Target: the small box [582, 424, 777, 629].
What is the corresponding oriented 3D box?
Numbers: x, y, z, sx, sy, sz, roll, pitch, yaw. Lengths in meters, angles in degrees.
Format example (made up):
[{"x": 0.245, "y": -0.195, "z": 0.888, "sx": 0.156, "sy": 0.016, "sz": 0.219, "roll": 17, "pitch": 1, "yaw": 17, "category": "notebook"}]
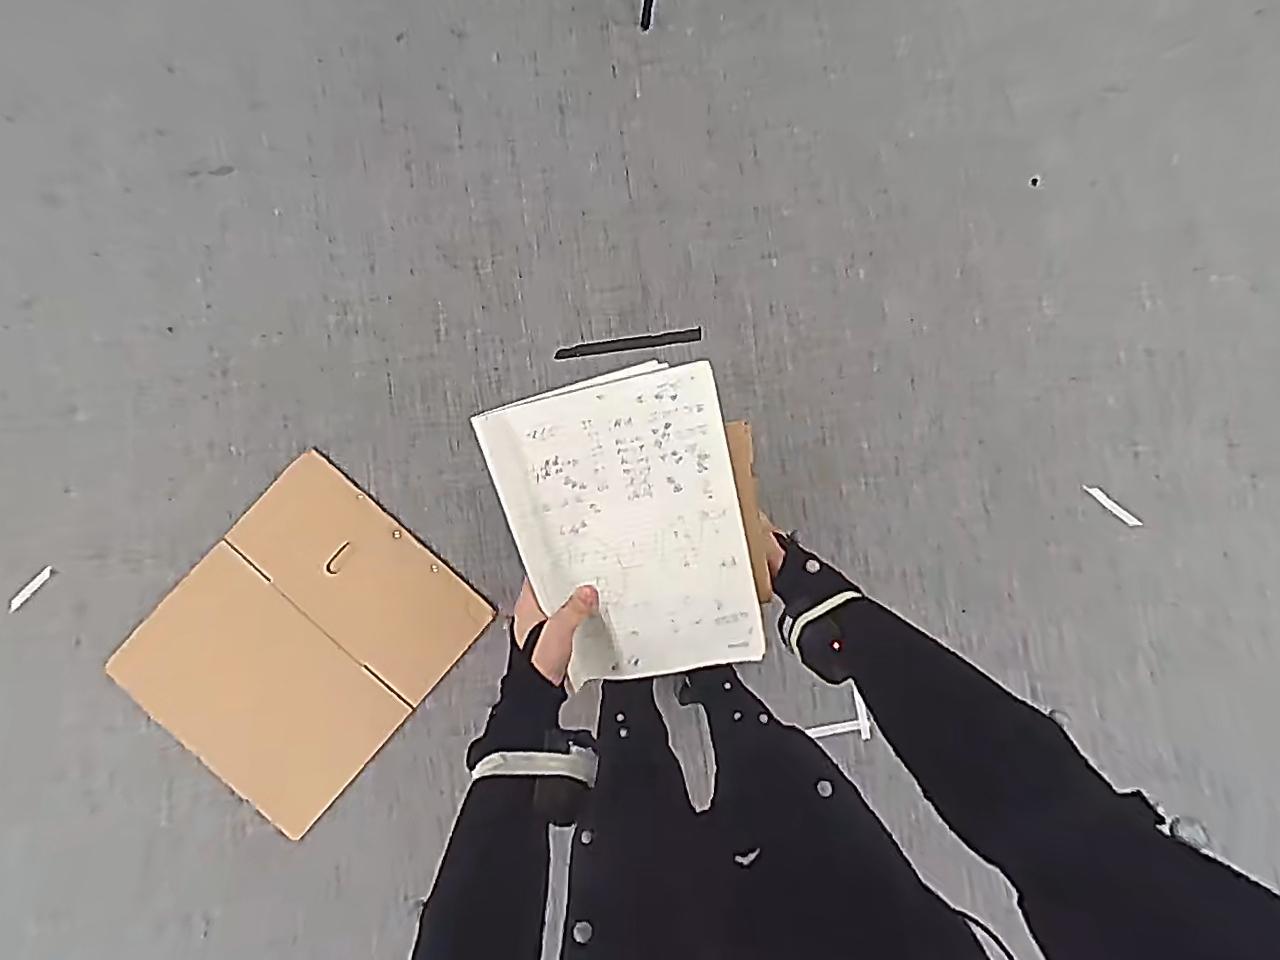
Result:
[{"x": 0.033, "y": 0.049, "z": 0.586, "sx": 0.168, "sy": 0.176, "sz": 0.179, "roll": -9, "pitch": 86, "yaw": -2, "category": "small box"}]
